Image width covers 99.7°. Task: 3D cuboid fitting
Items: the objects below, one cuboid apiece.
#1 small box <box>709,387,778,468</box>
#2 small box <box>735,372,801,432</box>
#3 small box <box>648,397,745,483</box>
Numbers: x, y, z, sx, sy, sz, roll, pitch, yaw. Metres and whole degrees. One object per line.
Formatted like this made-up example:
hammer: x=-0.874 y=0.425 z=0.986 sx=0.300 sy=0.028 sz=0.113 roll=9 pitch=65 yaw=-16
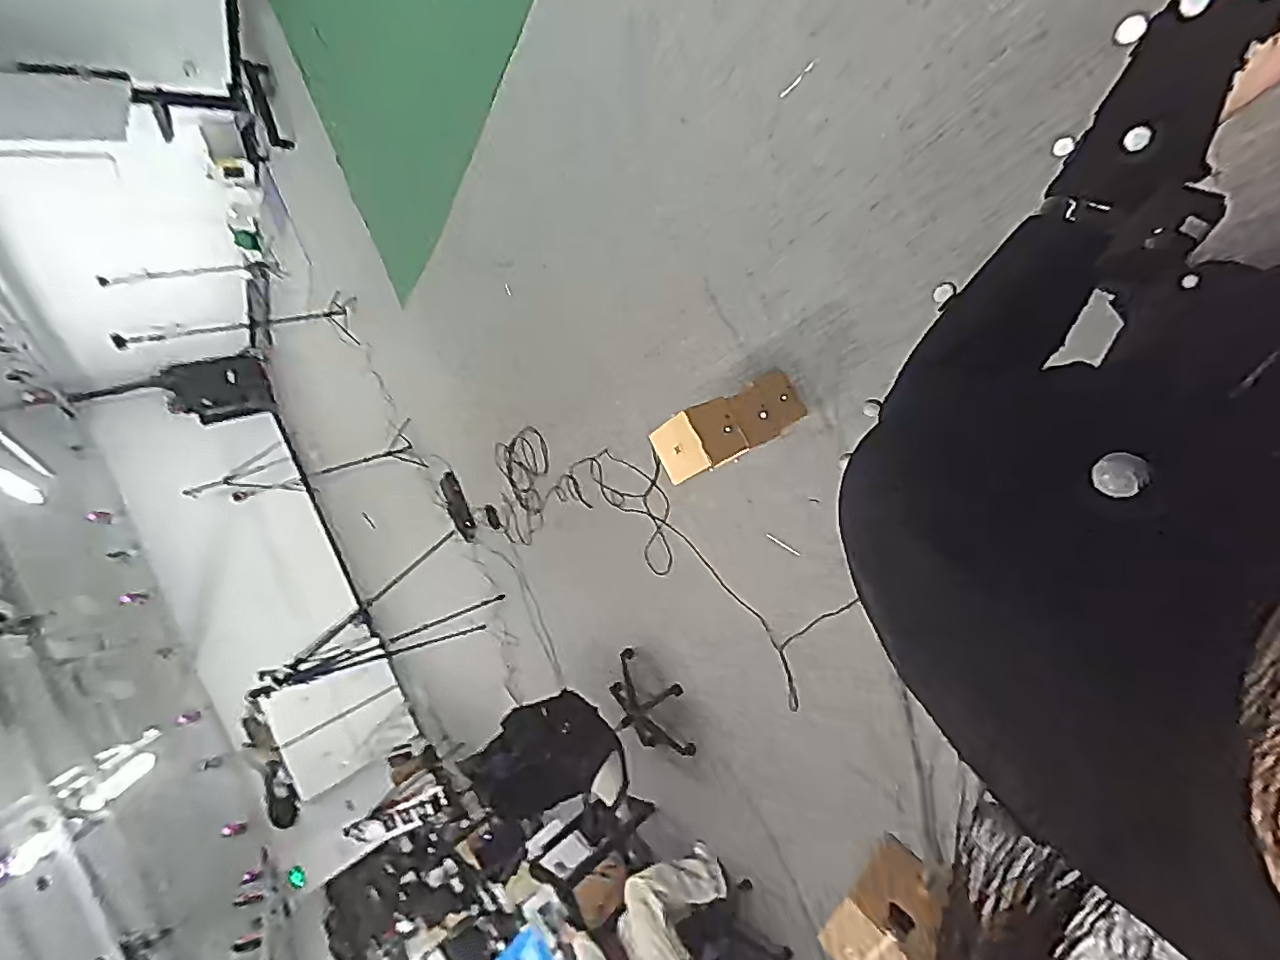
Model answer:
small box: x=0.280 y=-0.159 z=1.631 sx=0.179 sy=0.176 sz=0.168 roll=-31 pitch=84 yaw=51
small box: x=0.389 y=-0.225 z=1.734 sx=0.179 sy=0.176 sz=0.168 roll=-37 pitch=78 yaw=52
small box: x=0.162 y=-0.114 z=1.528 sx=0.179 sy=0.176 sz=0.168 roll=-33 pitch=83 yaw=51
